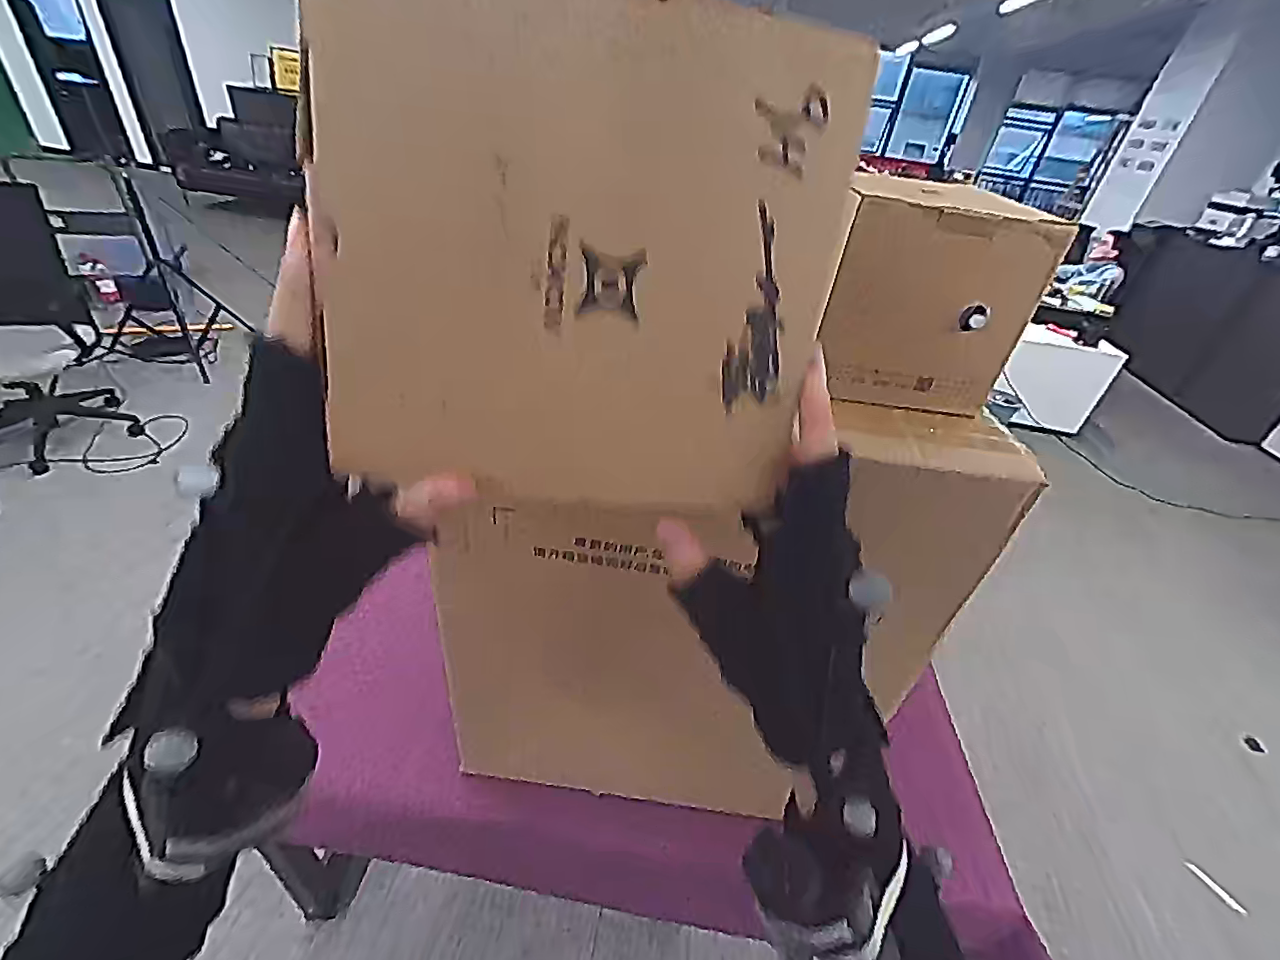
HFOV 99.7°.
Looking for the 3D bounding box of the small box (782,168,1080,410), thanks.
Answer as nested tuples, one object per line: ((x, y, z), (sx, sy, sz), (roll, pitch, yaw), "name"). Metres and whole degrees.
((0.244, -0.182, 0.512), (0.168, 0.176, 0.179), (8, 35, 0), "small box")
